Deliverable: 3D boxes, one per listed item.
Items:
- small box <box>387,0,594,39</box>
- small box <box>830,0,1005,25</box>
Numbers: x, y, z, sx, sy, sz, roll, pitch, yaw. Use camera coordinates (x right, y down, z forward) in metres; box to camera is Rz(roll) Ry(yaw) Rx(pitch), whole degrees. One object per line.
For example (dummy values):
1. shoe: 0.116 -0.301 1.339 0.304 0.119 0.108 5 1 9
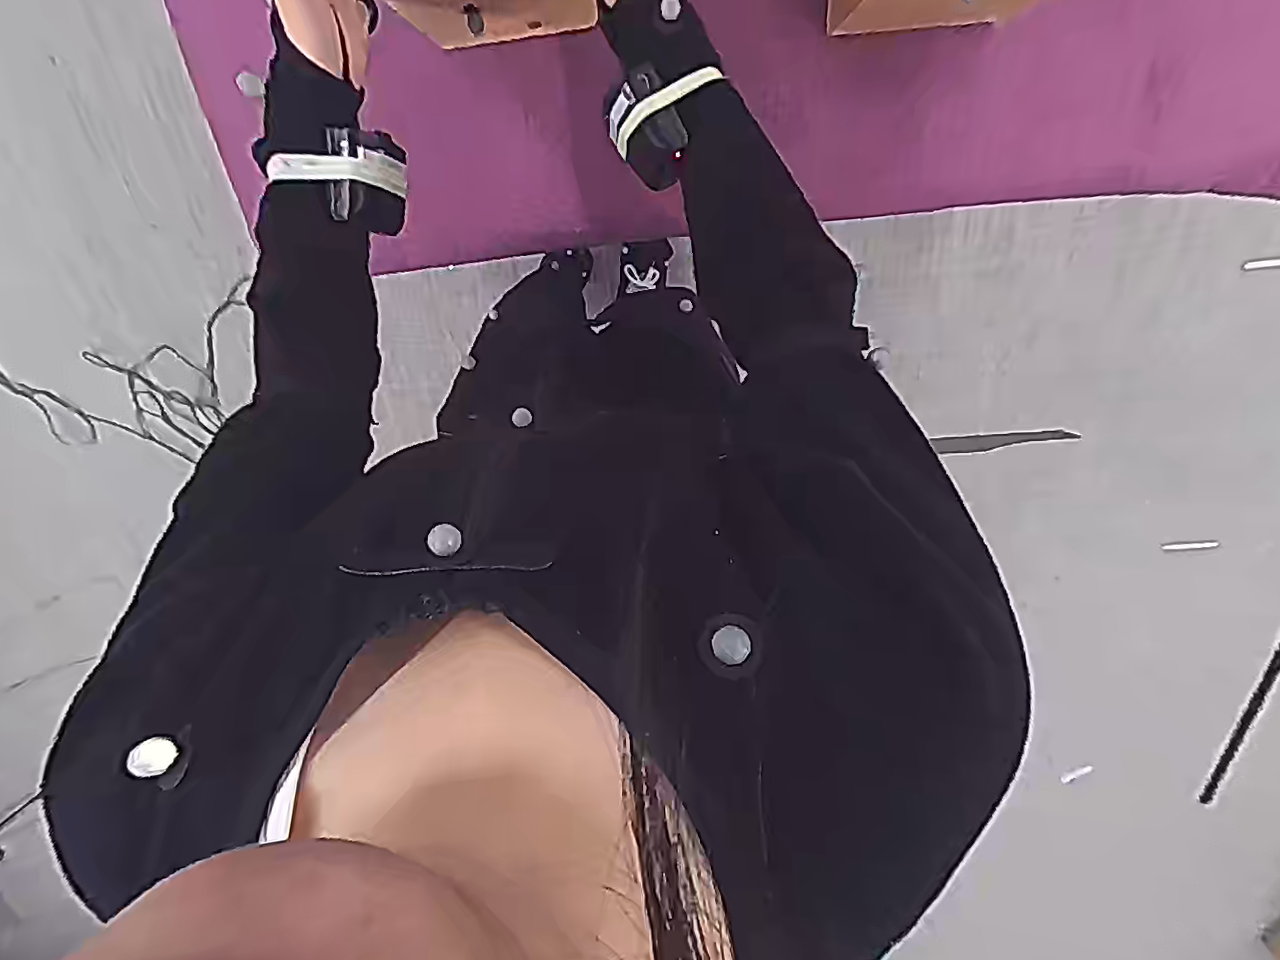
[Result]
1. small box: -0.136 -0.500 0.448 0.168 0.176 0.179 -6 114 4
2. small box: 0.267 -0.500 0.438 0.179 0.176 0.168 -3 115 2
